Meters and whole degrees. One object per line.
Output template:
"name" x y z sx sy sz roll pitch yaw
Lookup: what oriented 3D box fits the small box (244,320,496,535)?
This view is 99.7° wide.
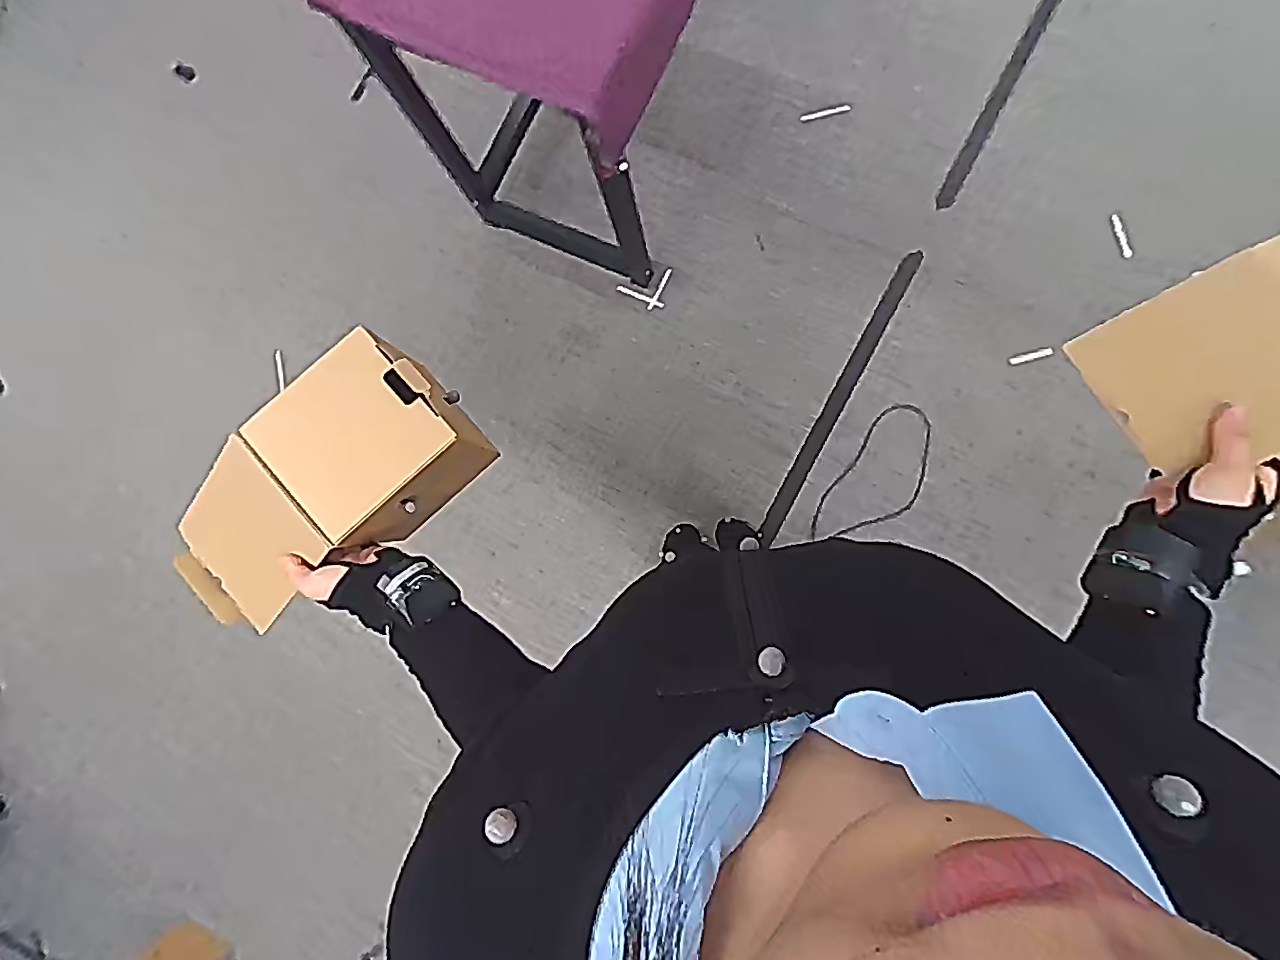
"small box" -0.304 -0.050 0.651 0.179 0.176 0.168 -41 86 -2
